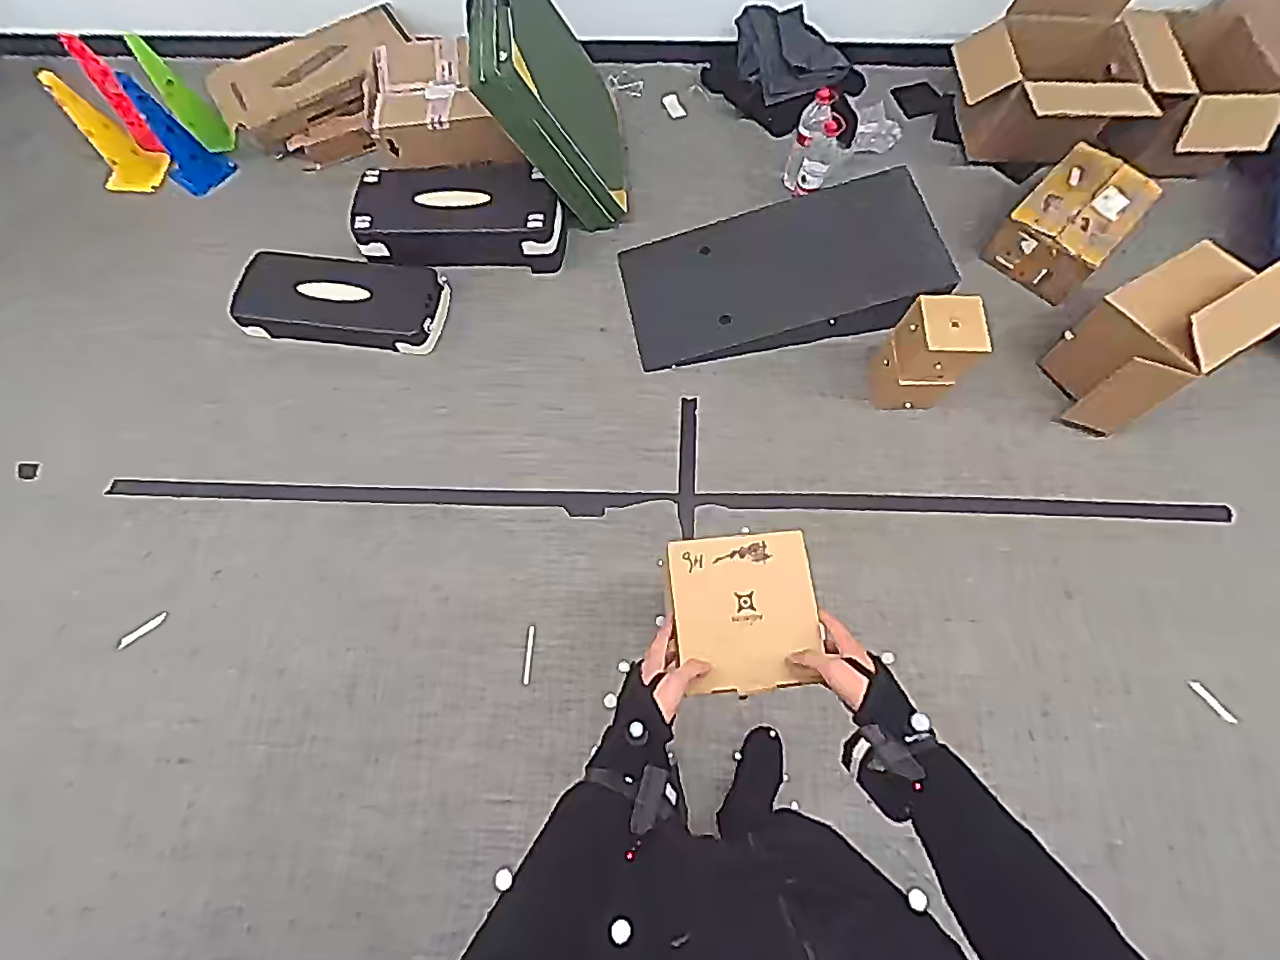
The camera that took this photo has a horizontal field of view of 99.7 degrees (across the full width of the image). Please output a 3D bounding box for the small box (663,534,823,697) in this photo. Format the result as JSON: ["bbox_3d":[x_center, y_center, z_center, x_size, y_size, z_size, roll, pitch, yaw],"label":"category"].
[{"bbox_3d":[0.120,0.175,0.705,0.168,0.176,0.179,-5,74,-2],"label":"small box"}]
